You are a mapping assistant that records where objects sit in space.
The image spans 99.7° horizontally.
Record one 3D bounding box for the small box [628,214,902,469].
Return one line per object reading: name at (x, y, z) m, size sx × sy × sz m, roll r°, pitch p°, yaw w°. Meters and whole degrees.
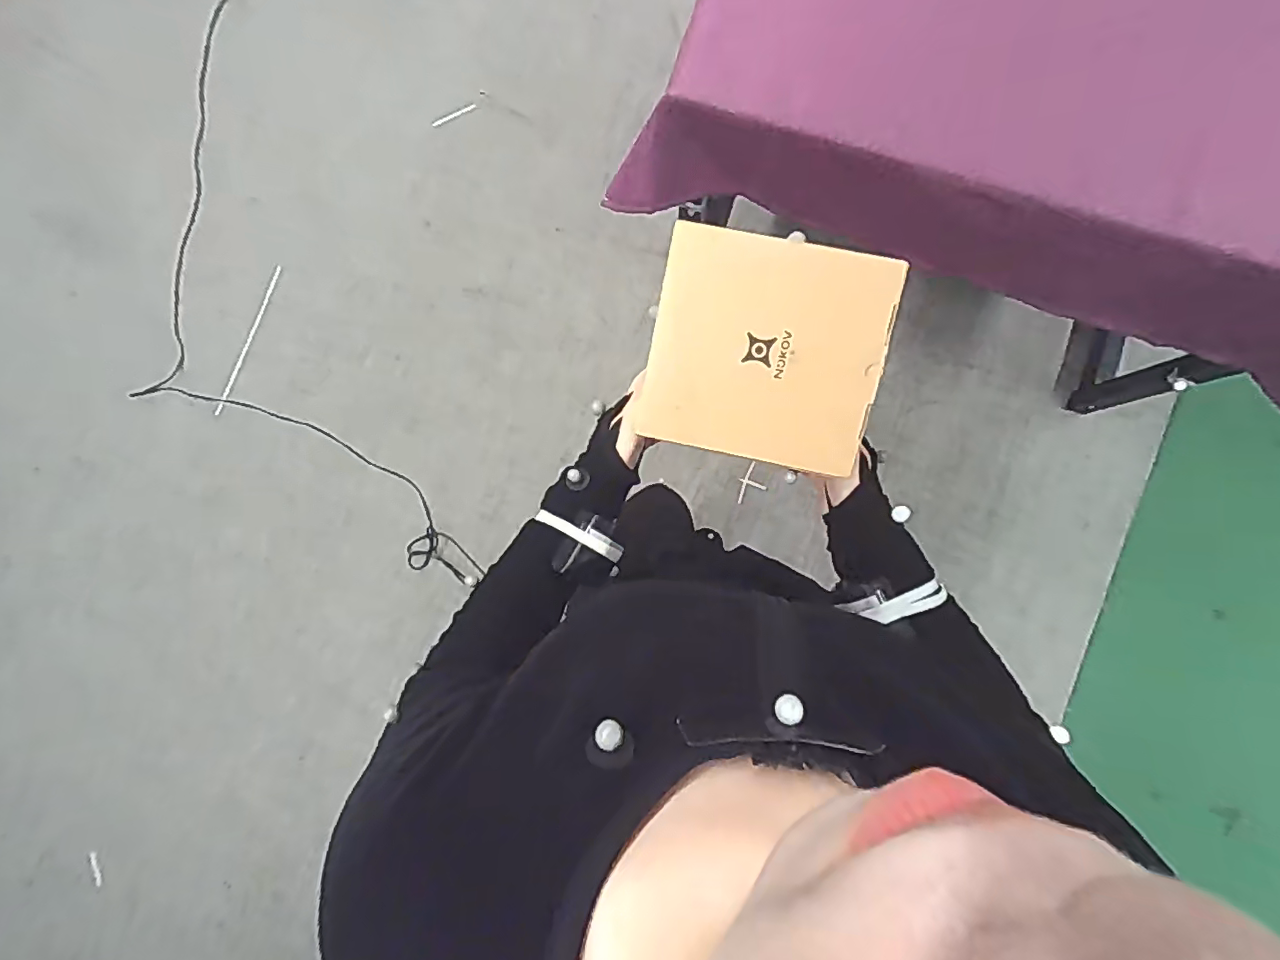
small box at (0.099, -0.114, 0.489) m, size 0.179 × 0.176 × 0.168 m, roll 12°, pitch 99°, yaw 4°
